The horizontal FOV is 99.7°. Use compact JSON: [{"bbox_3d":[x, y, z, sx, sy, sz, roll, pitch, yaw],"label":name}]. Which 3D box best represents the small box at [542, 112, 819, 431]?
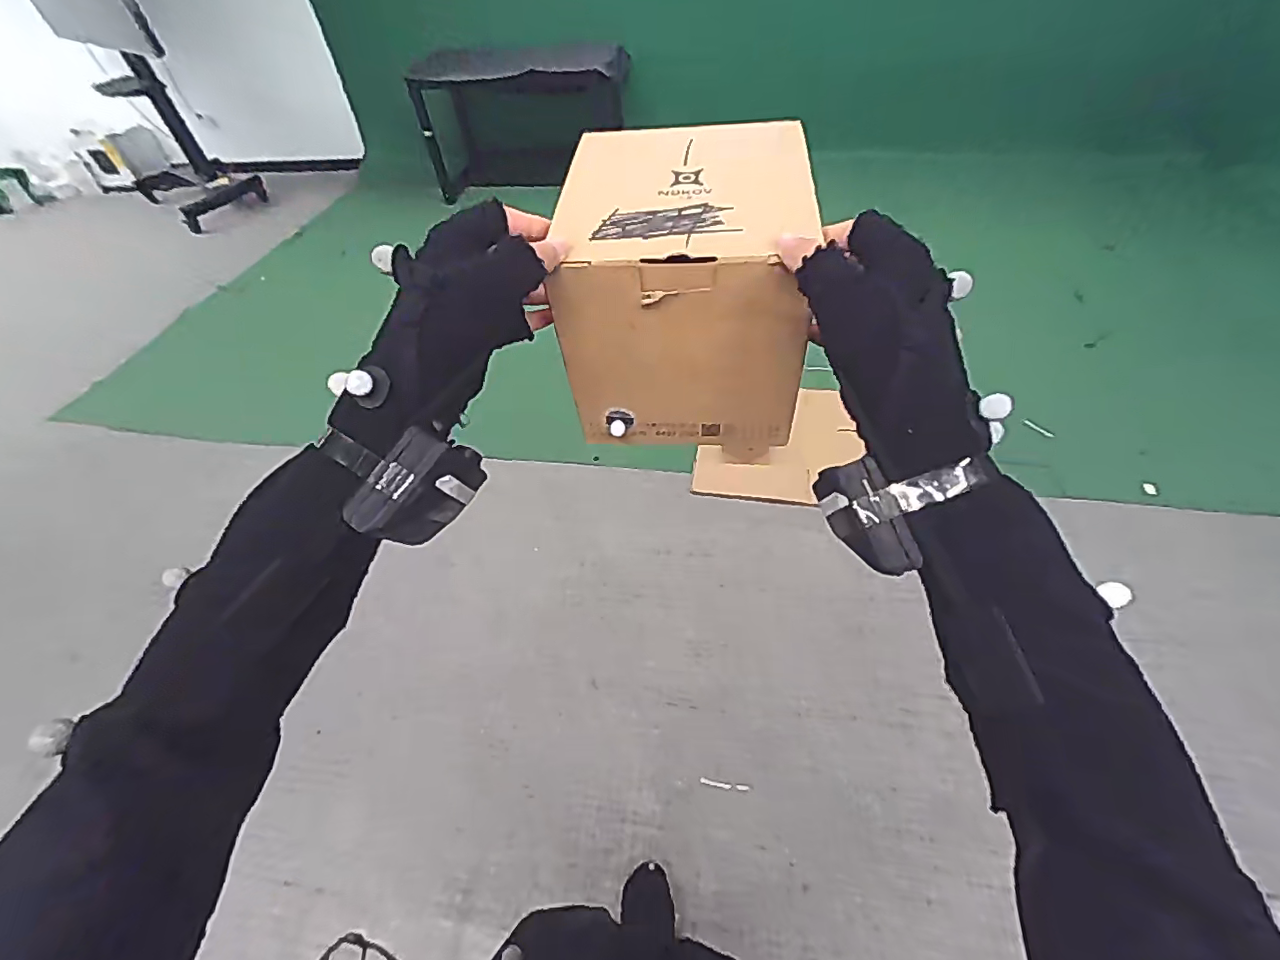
[{"bbox_3d":[0.038,-0.154,0.423,0.168,0.176,0.179,2,55,7],"label":"small box"}]

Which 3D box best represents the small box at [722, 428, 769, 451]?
[{"bbox_3d":[0.390,-0.230,1.978,0.168,0.176,0.179,4,49,11],"label":"small box"}]
